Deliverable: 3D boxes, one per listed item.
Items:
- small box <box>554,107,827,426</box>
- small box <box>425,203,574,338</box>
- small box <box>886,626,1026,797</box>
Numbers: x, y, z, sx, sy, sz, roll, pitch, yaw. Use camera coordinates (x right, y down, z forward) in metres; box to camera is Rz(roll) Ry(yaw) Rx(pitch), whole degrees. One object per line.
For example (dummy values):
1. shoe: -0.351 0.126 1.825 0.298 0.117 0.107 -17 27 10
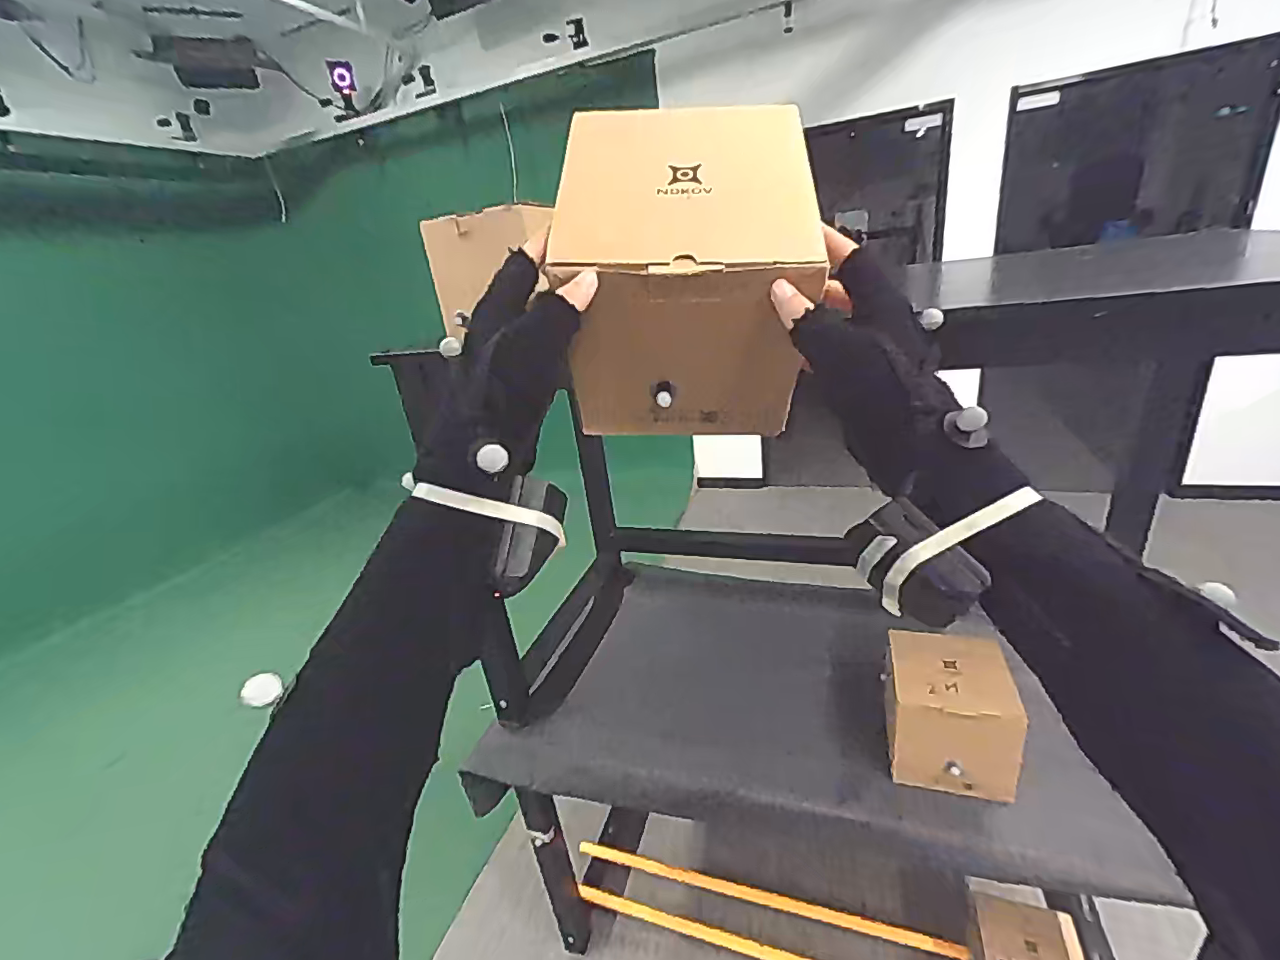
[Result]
1. small box: 0.036 -0.163 0.432 0.168 0.176 0.179 0 59 4
2. small box: -0.190 -0.315 0.831 0.168 0.176 0.179 1 22 19
3. small box: 0.495 0.365 0.874 0.168 0.176 0.179 0 22 20
